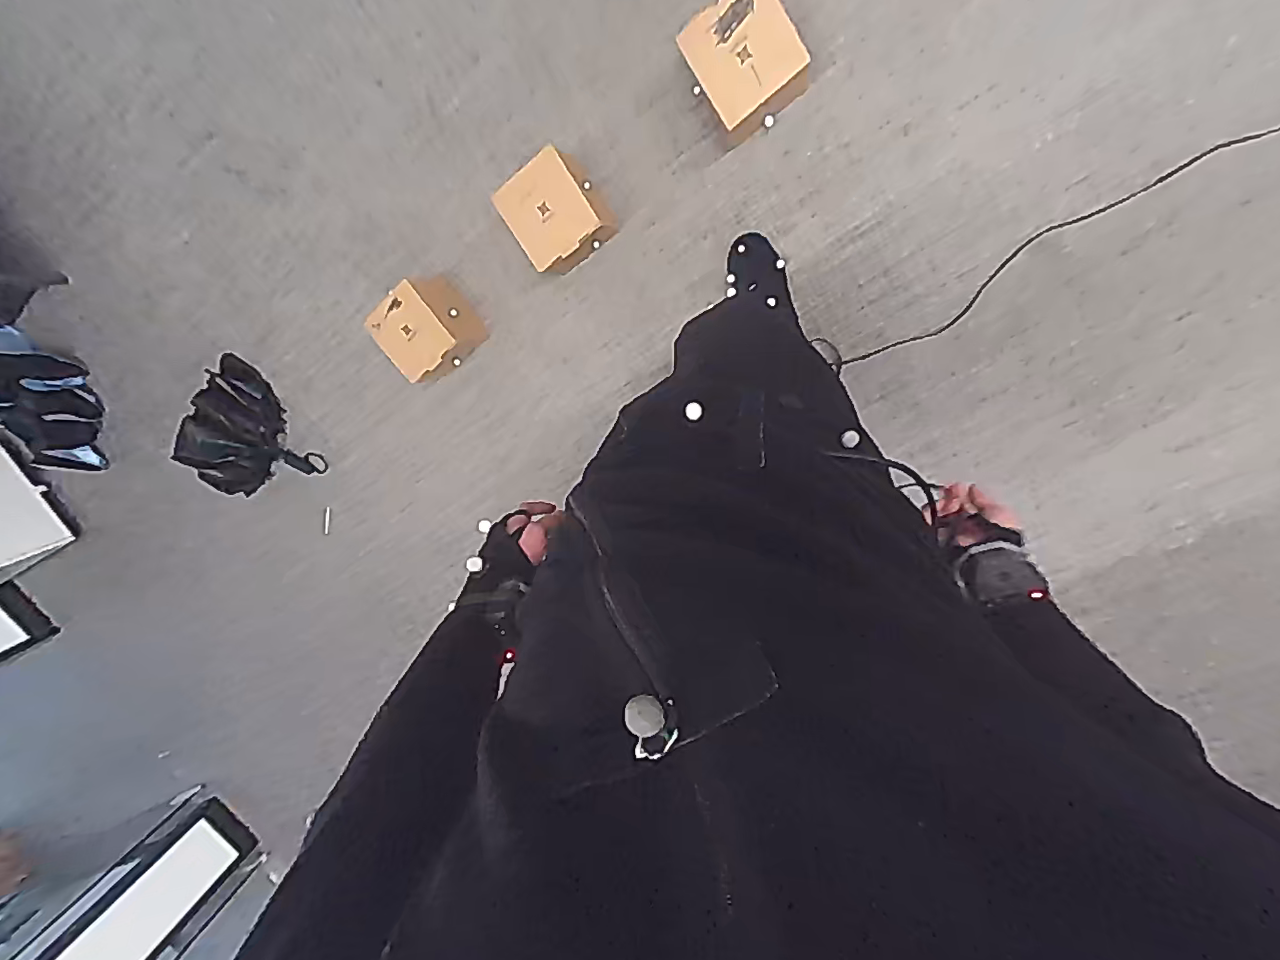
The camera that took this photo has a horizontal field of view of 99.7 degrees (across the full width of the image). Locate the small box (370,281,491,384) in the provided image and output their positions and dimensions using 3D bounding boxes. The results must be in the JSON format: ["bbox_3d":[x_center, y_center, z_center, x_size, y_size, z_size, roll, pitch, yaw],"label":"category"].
[{"bbox_3d":[-0.494,-0.361,1.303,0.168,0.176,0.179,-34,100,22],"label":"small box"}]

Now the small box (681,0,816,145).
[{"bbox_3d":[0.198,-0.753,0.984,0.168,0.176,0.179,-31,101,23],"label":"small box"}]

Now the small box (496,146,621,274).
[{"bbox_3d":[-0.163,-0.561,1.149,0.168,0.176,0.179,-31,100,21],"label":"small box"}]
